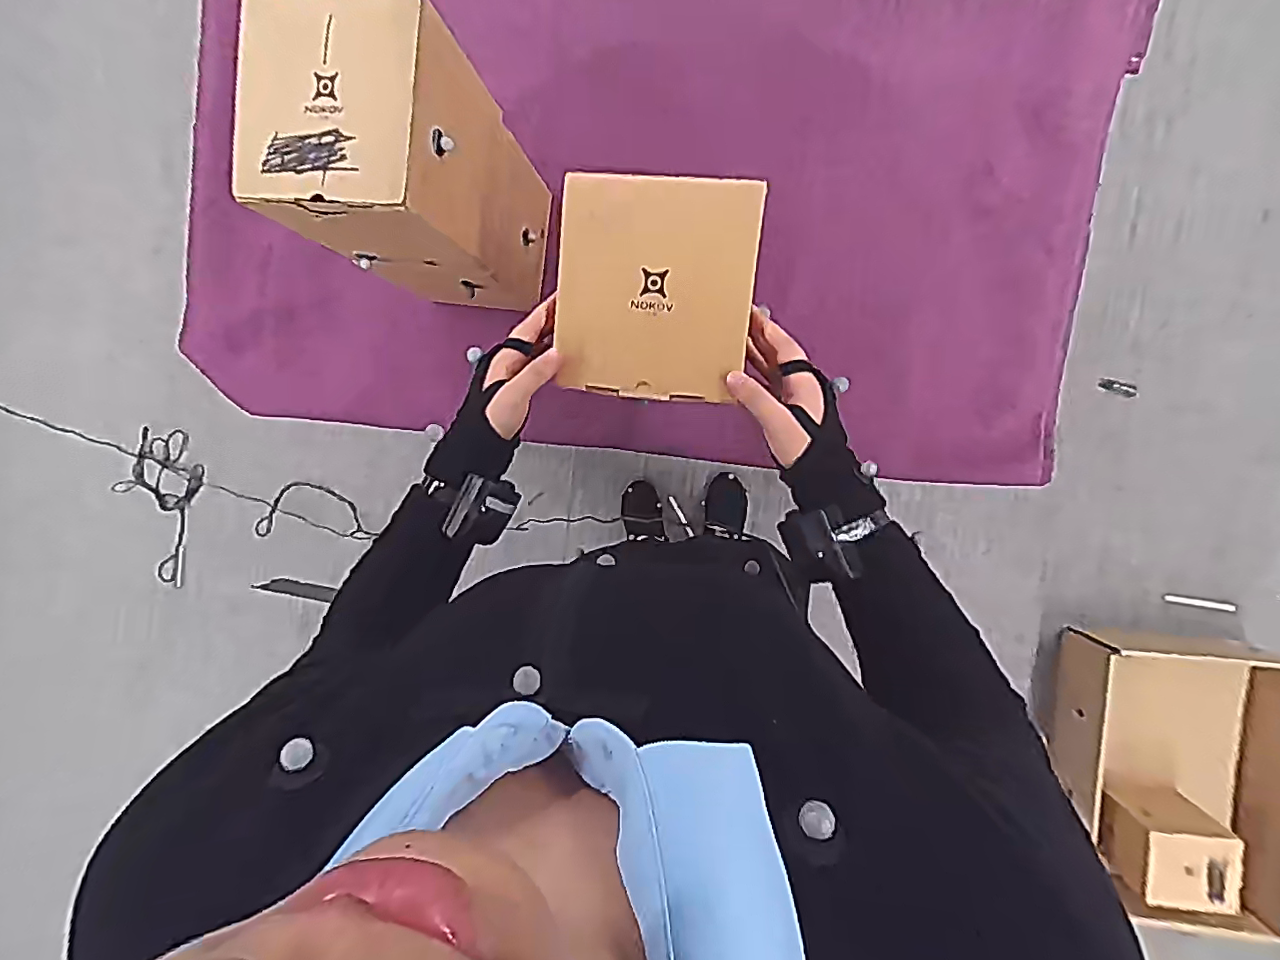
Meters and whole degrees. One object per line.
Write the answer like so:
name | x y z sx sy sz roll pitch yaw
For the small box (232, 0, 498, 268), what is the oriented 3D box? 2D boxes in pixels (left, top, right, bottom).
small box | -0.253 -0.323 0.530 0.168 0.176 0.179 7 94 8

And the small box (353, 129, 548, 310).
small box | -0.229 -0.325 0.693 0.179 0.176 0.168 8 94 8
